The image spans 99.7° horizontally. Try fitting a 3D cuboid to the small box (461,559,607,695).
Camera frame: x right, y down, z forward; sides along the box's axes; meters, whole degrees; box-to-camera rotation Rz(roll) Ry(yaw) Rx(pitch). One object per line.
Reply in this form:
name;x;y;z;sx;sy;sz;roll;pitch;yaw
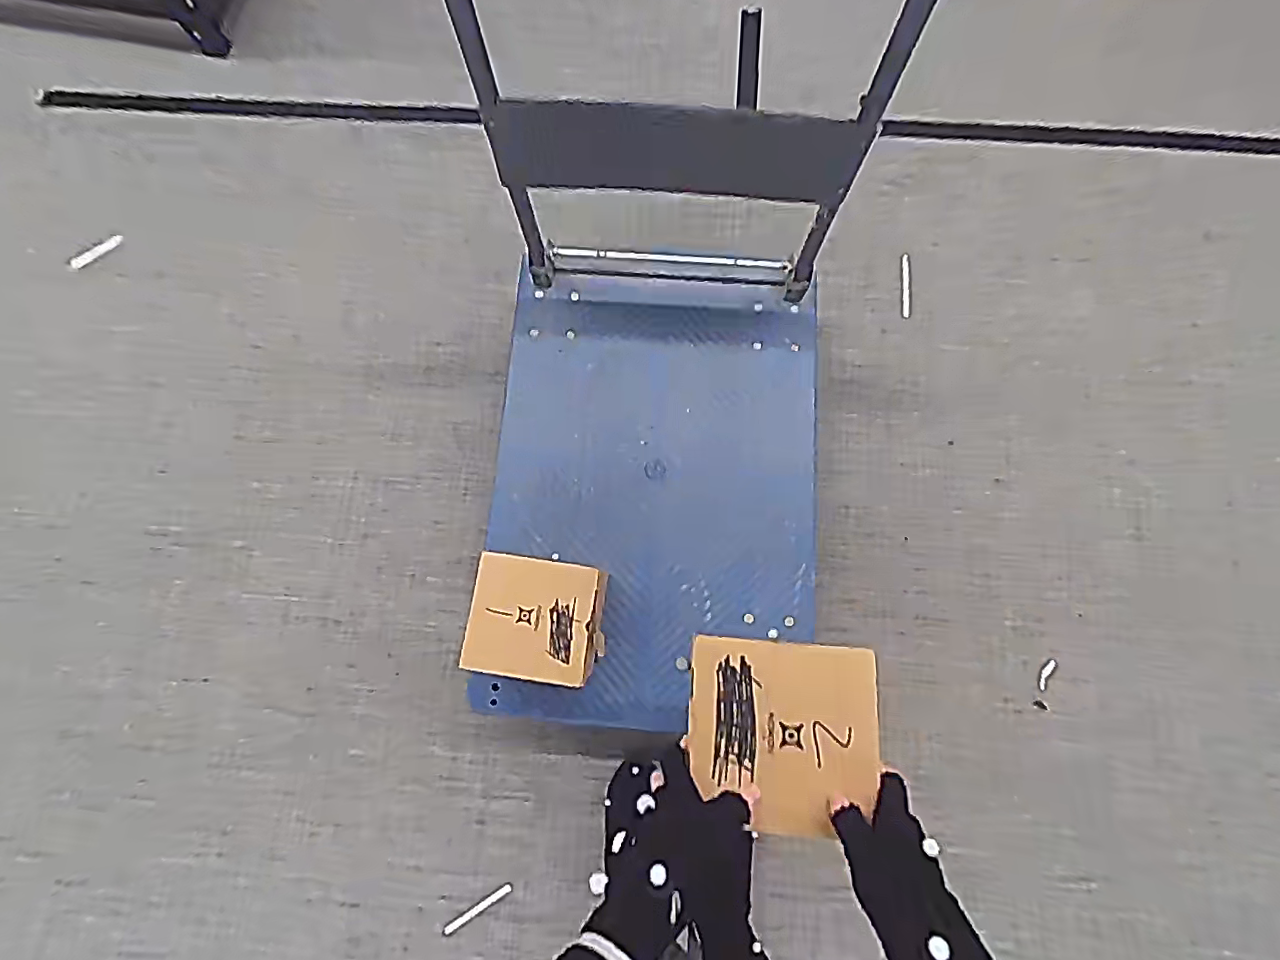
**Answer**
small box;-0.150;0.219;0.835;0.179;0.176;0.168;8;78;3
